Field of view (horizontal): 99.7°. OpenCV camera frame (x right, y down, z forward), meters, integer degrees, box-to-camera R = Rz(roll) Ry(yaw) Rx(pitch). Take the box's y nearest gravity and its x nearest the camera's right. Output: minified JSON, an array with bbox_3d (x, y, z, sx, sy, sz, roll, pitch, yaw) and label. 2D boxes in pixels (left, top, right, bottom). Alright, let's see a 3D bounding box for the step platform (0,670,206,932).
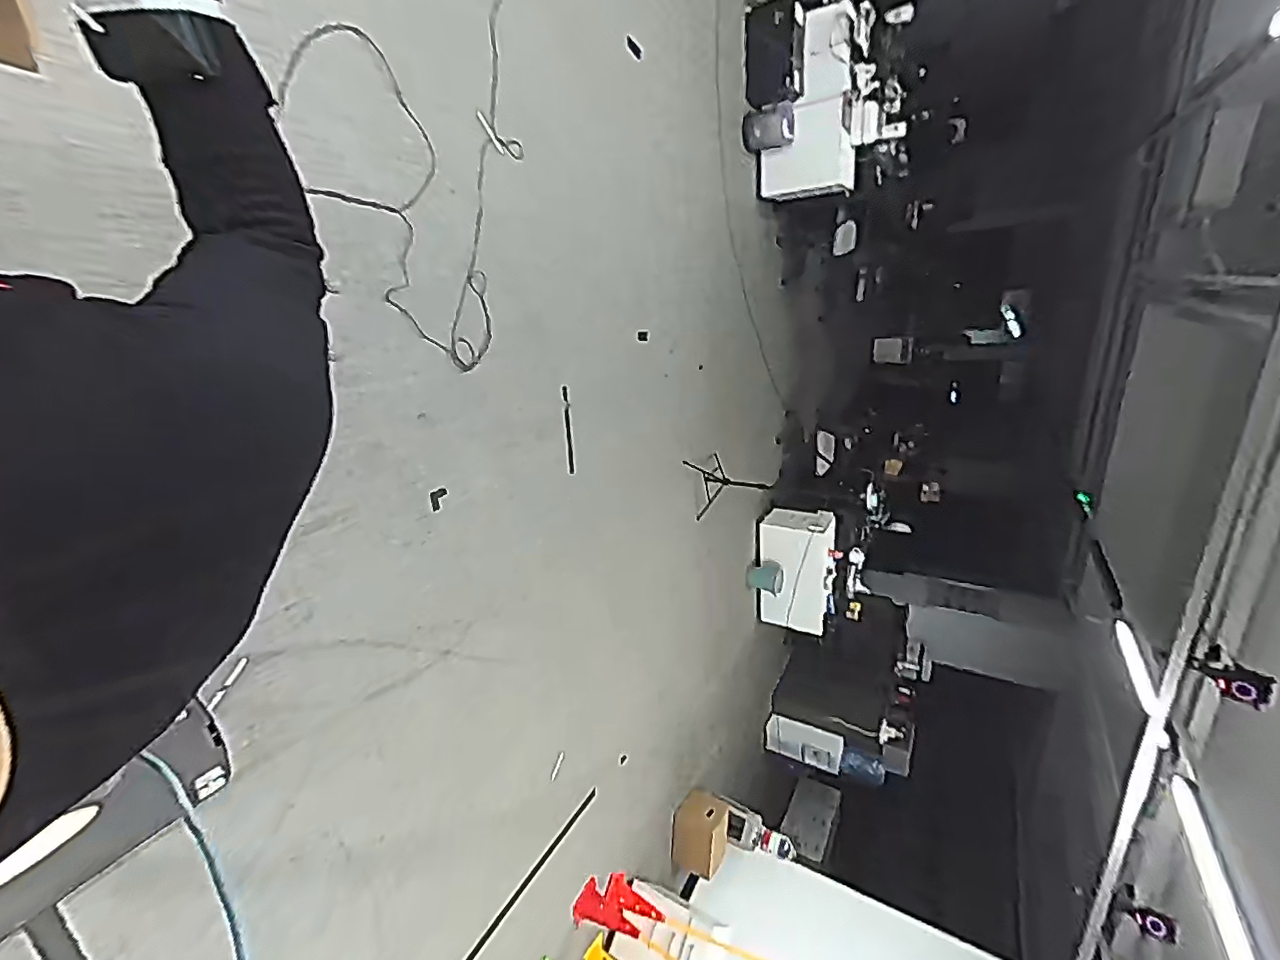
[{"bbox_3d":[-1.201,0.655,0.947,0.684,0.204,0.286,-33,124,-51],"label":"step platform"}]
